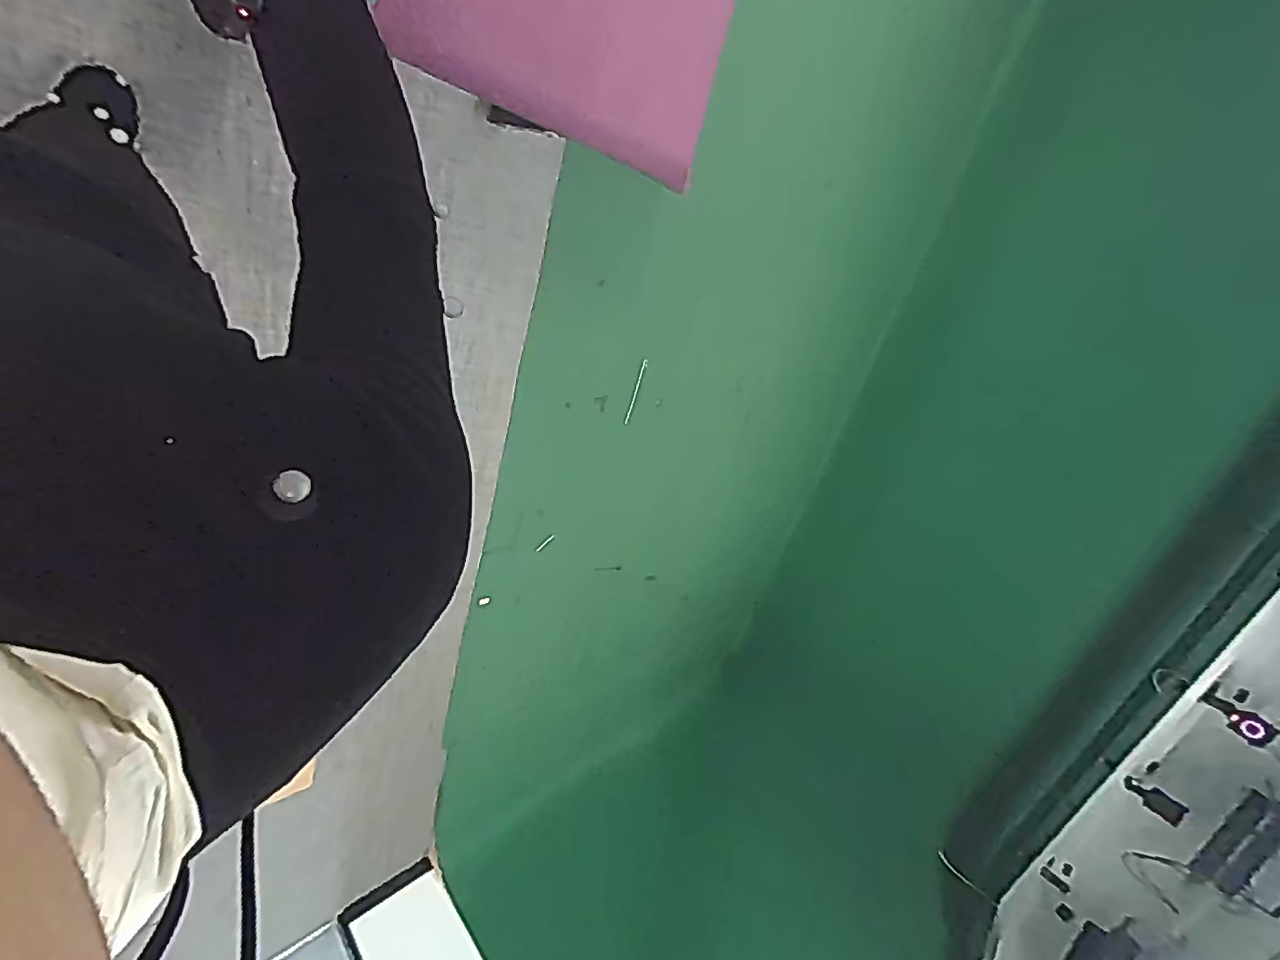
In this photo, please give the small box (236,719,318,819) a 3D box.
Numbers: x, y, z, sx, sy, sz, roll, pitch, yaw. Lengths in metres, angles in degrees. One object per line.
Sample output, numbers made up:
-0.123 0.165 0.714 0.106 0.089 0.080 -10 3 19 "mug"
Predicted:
-1.115 0.877 1.656 0.168 0.176 0.179 -7 124 -49 "small box"
